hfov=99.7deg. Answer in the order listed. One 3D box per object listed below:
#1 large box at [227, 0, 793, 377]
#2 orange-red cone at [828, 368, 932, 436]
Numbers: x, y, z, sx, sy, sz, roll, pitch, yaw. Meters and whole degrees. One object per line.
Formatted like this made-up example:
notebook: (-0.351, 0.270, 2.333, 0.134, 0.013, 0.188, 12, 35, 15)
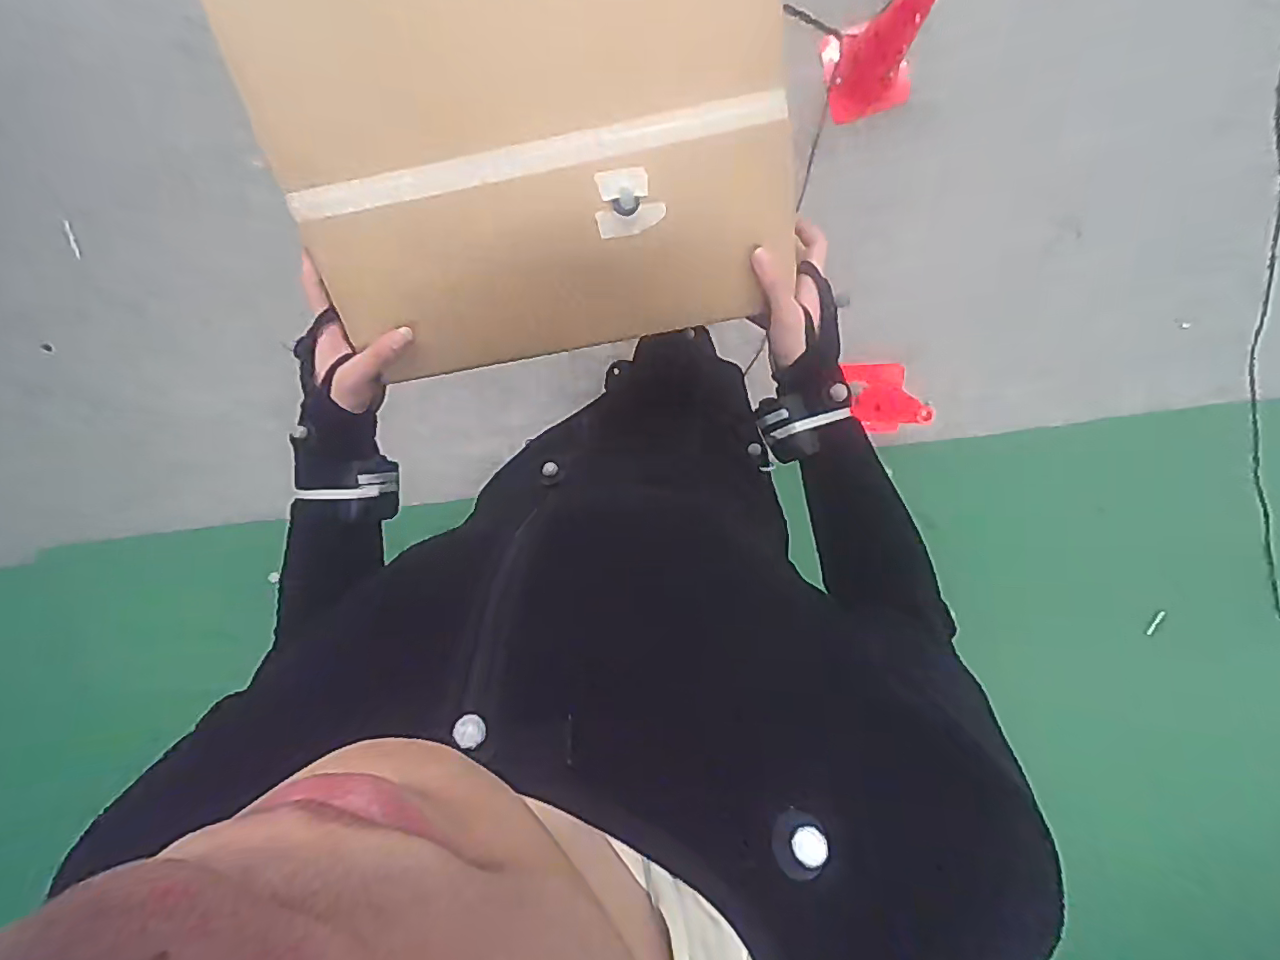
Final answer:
large box: (-0.088, -0.333, 0.574, 0.408, 0.320, 0.320, -10, 118, 2)
orange-red cone: (0.651, -0.180, 1.399, 0.199, 0.360, 0.198, 0, 105, 0)
